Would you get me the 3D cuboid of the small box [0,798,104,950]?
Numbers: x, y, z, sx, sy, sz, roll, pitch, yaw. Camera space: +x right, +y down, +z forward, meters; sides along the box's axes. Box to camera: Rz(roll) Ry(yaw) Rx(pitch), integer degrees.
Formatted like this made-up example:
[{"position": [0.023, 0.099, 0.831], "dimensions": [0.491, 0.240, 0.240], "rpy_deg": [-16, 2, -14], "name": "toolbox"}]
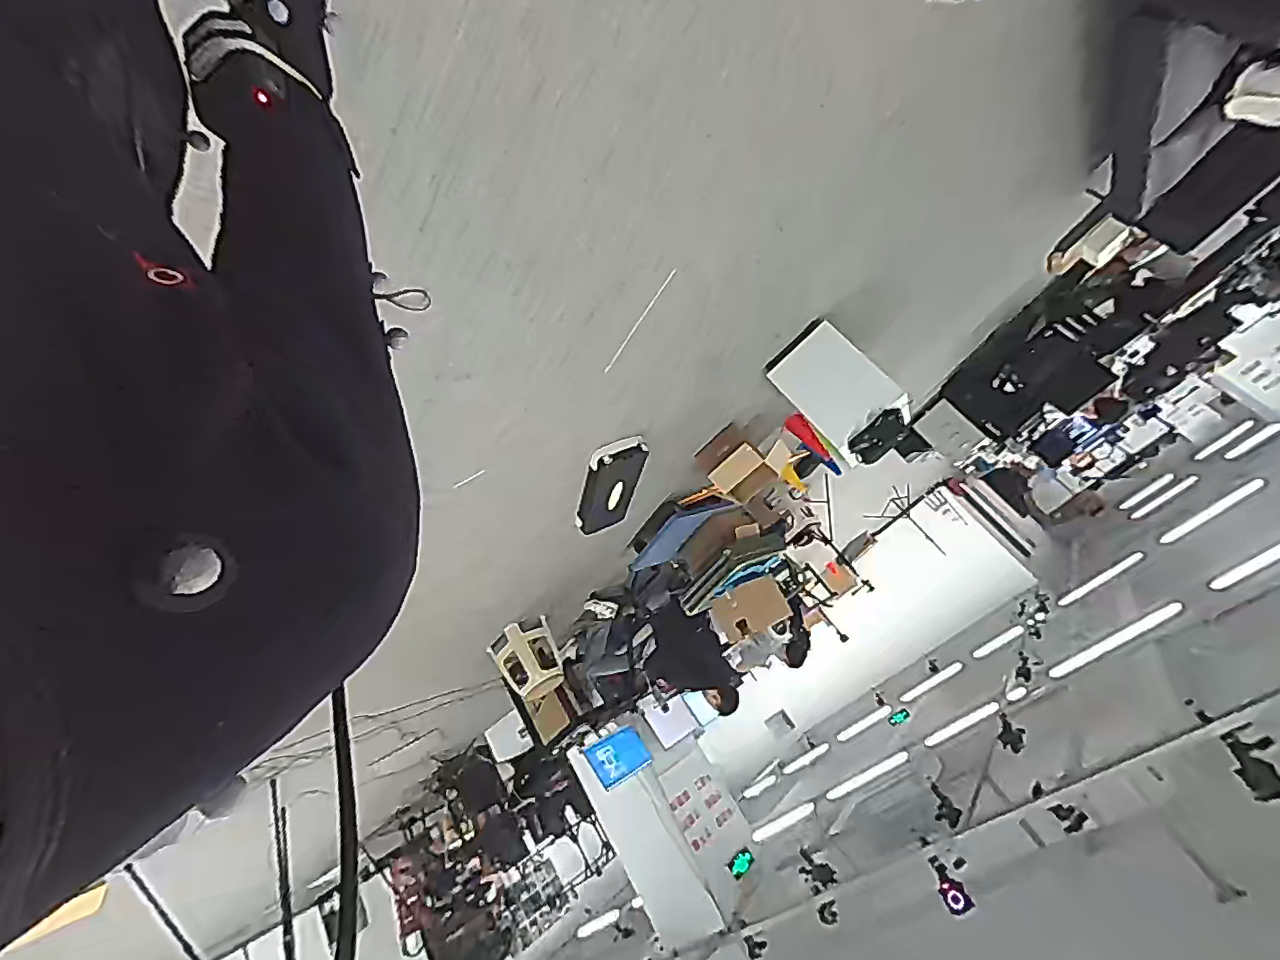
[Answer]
[{"position": [-1.105, 0.713, 0.971], "dimensions": [0.179, 0.176, 0.168], "rpy_deg": [-1, 139, -51], "name": "small box"}]
